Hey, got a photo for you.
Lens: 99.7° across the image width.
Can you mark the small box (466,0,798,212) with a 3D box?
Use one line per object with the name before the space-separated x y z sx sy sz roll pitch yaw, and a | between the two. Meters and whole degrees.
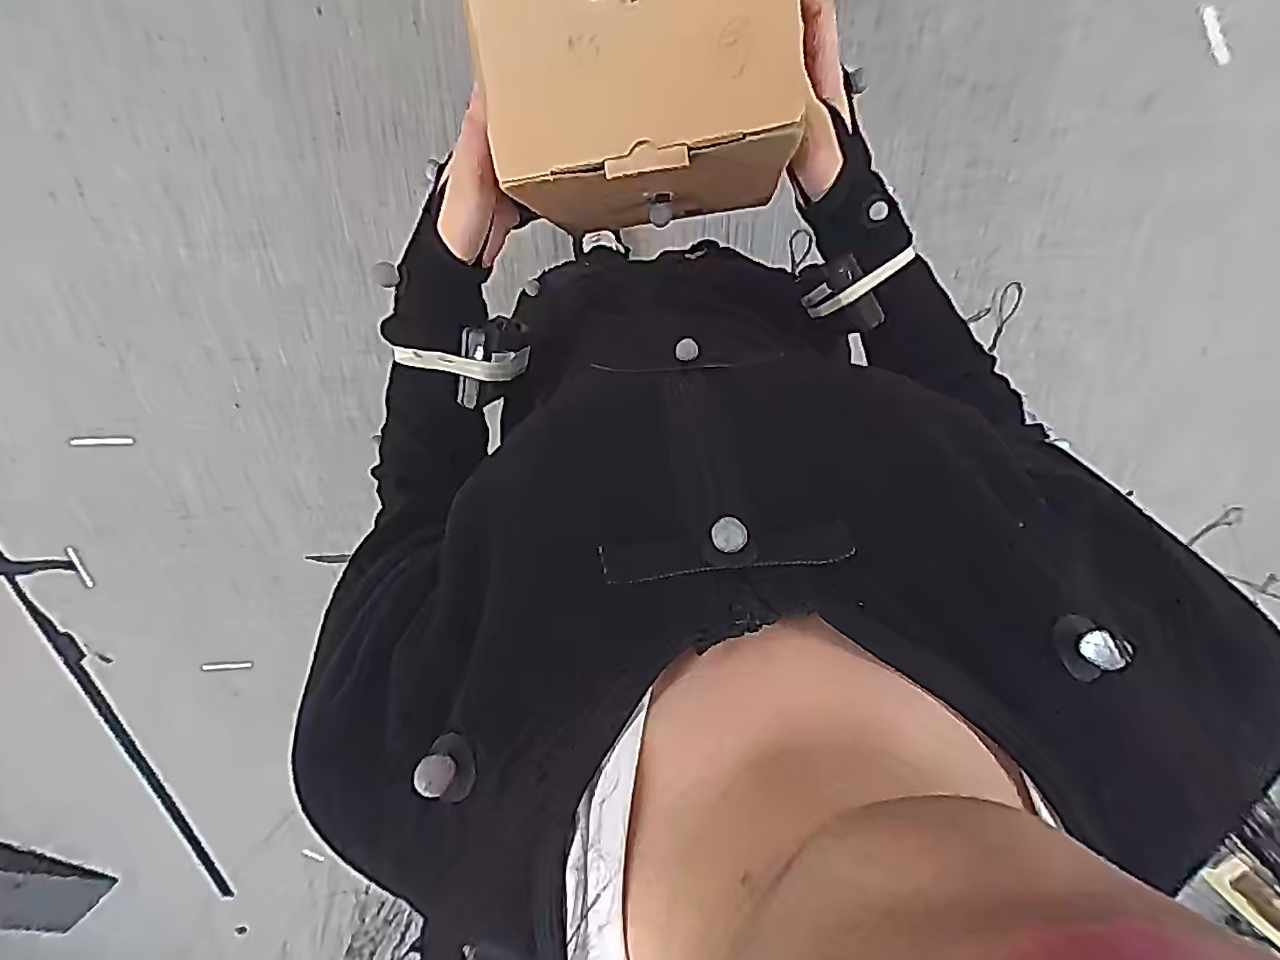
small box | 0.002 -0.279 0.337 0.168 0.176 0.179 -5 106 9
